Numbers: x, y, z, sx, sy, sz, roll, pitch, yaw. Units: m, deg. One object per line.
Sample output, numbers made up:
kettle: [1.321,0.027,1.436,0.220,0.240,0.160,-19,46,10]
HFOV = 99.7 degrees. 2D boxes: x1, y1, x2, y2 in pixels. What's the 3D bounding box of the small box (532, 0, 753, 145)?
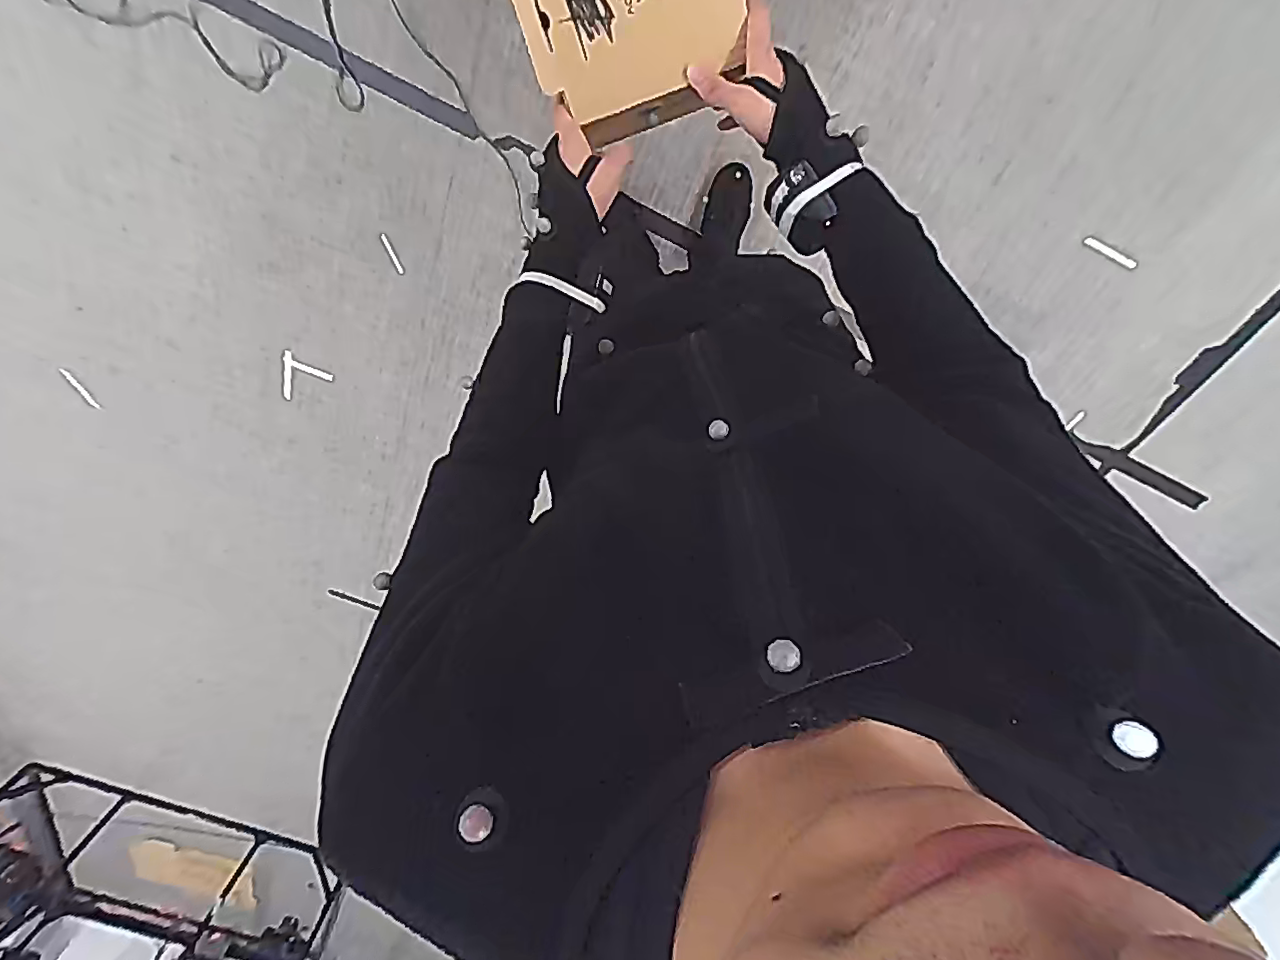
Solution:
small box: [-0.006,-0.453,0.528,0.179,0.176,0.168,-17,114,6]
